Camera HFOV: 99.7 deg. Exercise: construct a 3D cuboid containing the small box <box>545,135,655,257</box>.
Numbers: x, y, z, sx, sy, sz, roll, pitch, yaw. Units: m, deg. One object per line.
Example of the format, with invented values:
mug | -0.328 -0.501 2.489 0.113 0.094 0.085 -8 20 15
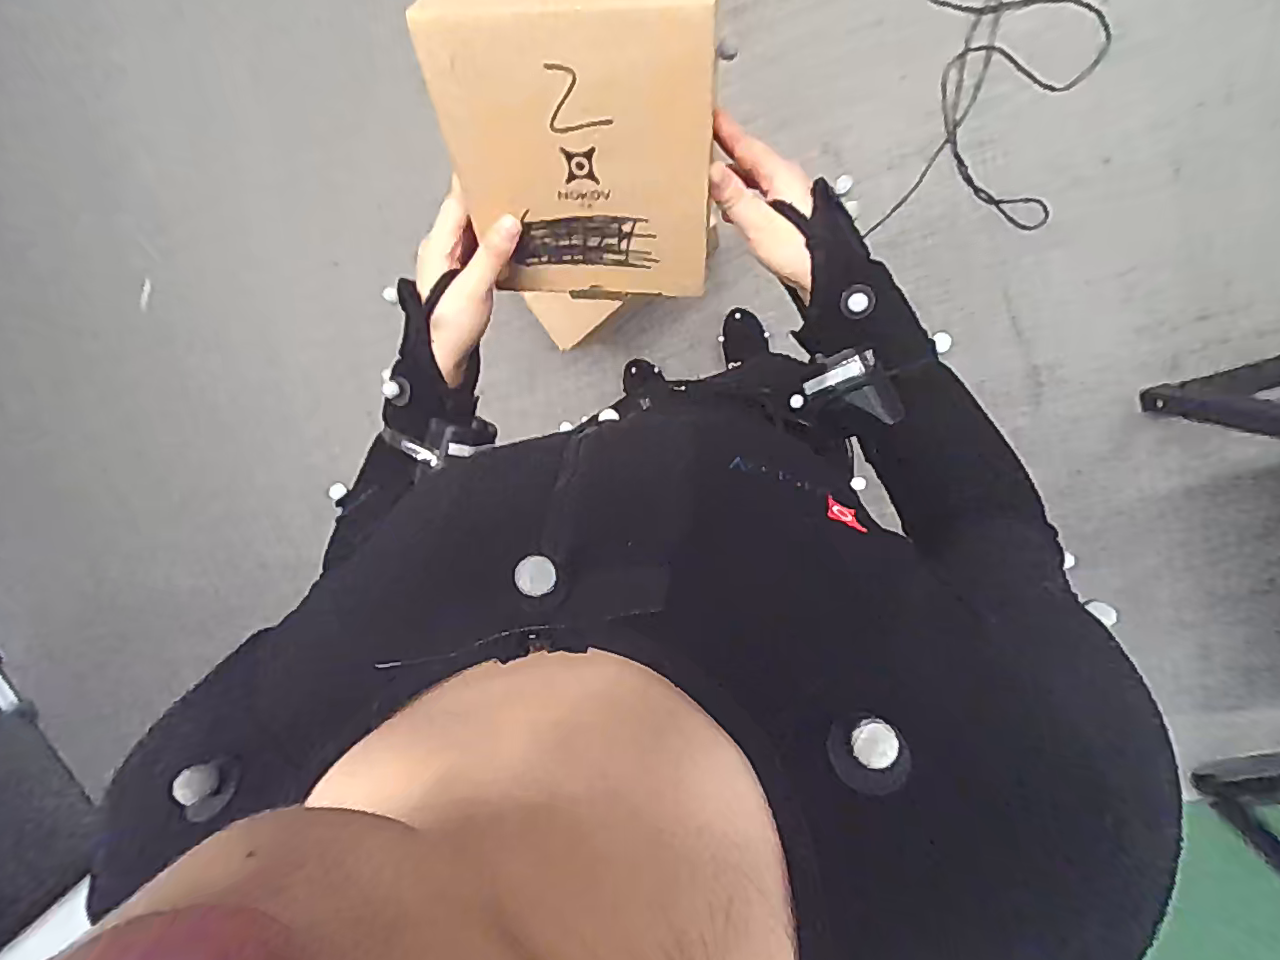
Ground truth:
small box | -0.065 -0.501 0.975 0.168 0.176 0.179 4 109 7
